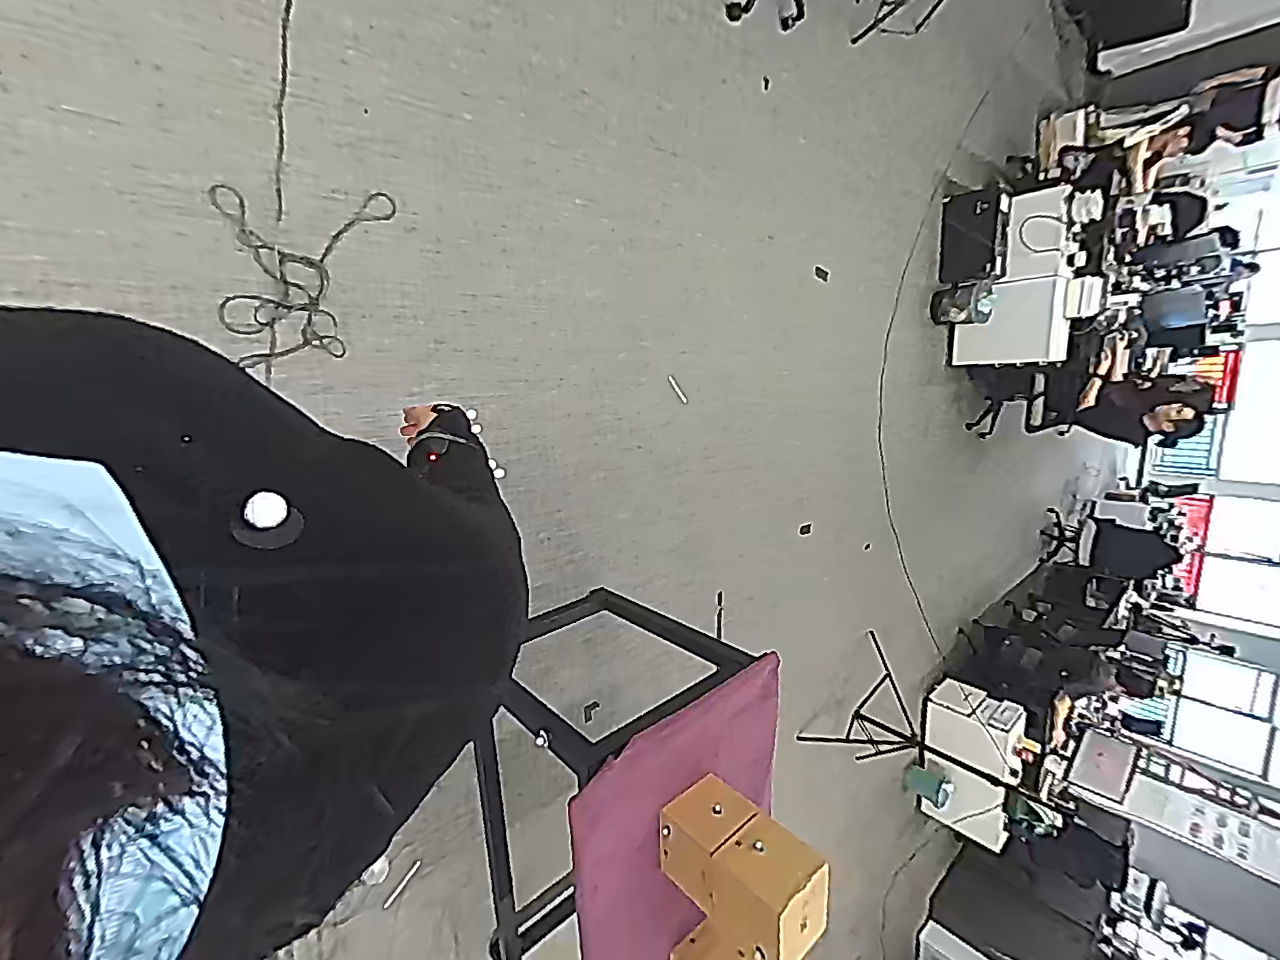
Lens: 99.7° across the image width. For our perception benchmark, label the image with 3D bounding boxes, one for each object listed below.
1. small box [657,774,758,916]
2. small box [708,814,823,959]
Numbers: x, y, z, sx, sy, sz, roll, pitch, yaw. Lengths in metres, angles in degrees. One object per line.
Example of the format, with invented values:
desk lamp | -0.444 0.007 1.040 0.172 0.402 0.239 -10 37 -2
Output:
small box | 0.152 0.825 1.243 0.179 0.176 0.168 -11 105 -40
small box | 0.254 0.845 1.114 0.168 0.176 0.179 -12 106 -40
